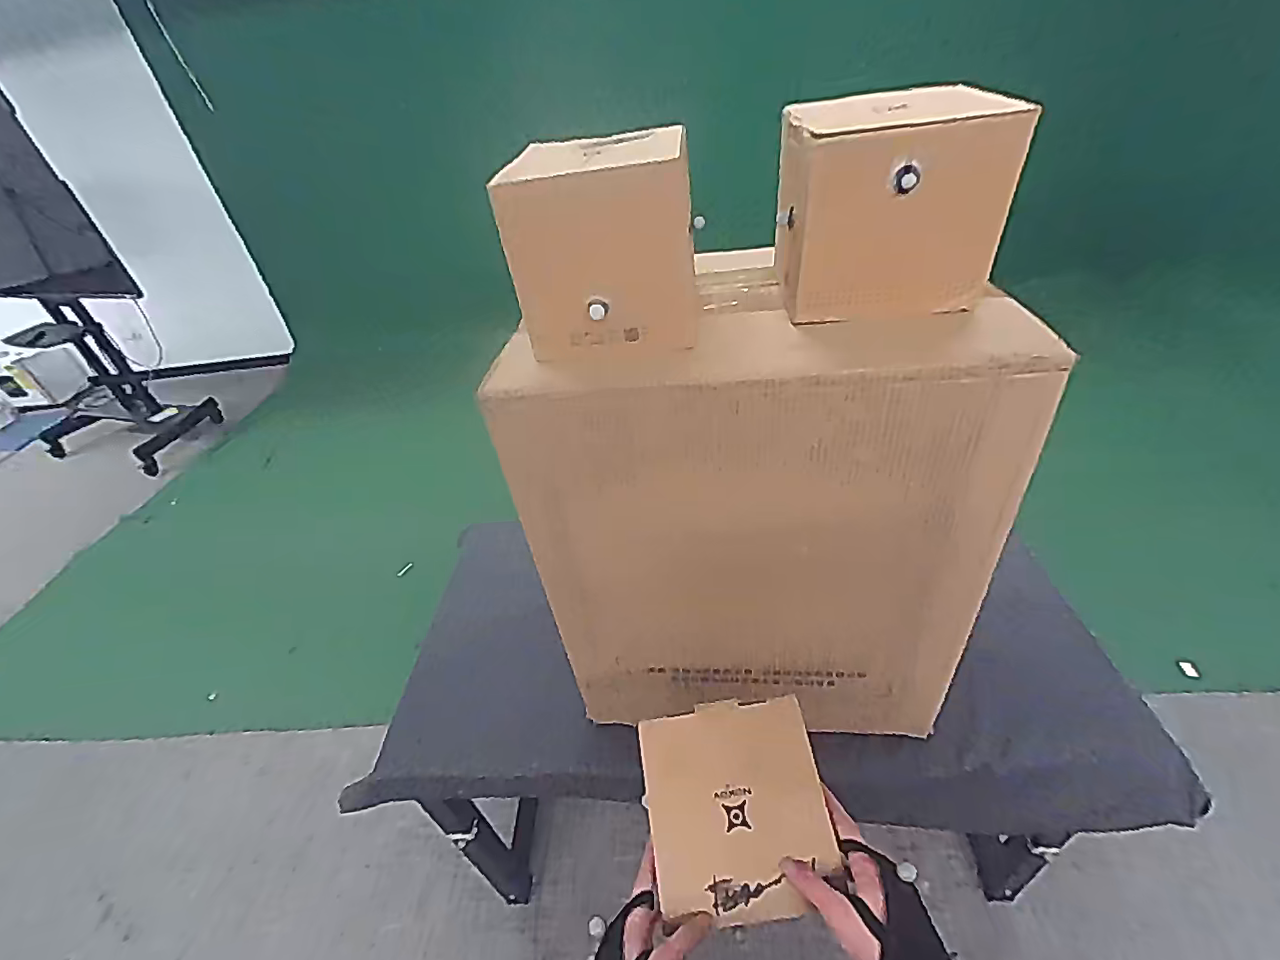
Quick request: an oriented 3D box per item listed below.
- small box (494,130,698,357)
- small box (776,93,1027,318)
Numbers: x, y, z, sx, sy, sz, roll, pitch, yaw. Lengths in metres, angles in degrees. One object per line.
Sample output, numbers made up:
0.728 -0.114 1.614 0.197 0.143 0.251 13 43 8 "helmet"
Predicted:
-0.029 -0.245 0.562 0.168 0.176 0.179 -3 40 9 "small box"
0.235 -0.274 0.547 0.179 0.176 0.168 -1 41 6 "small box"
